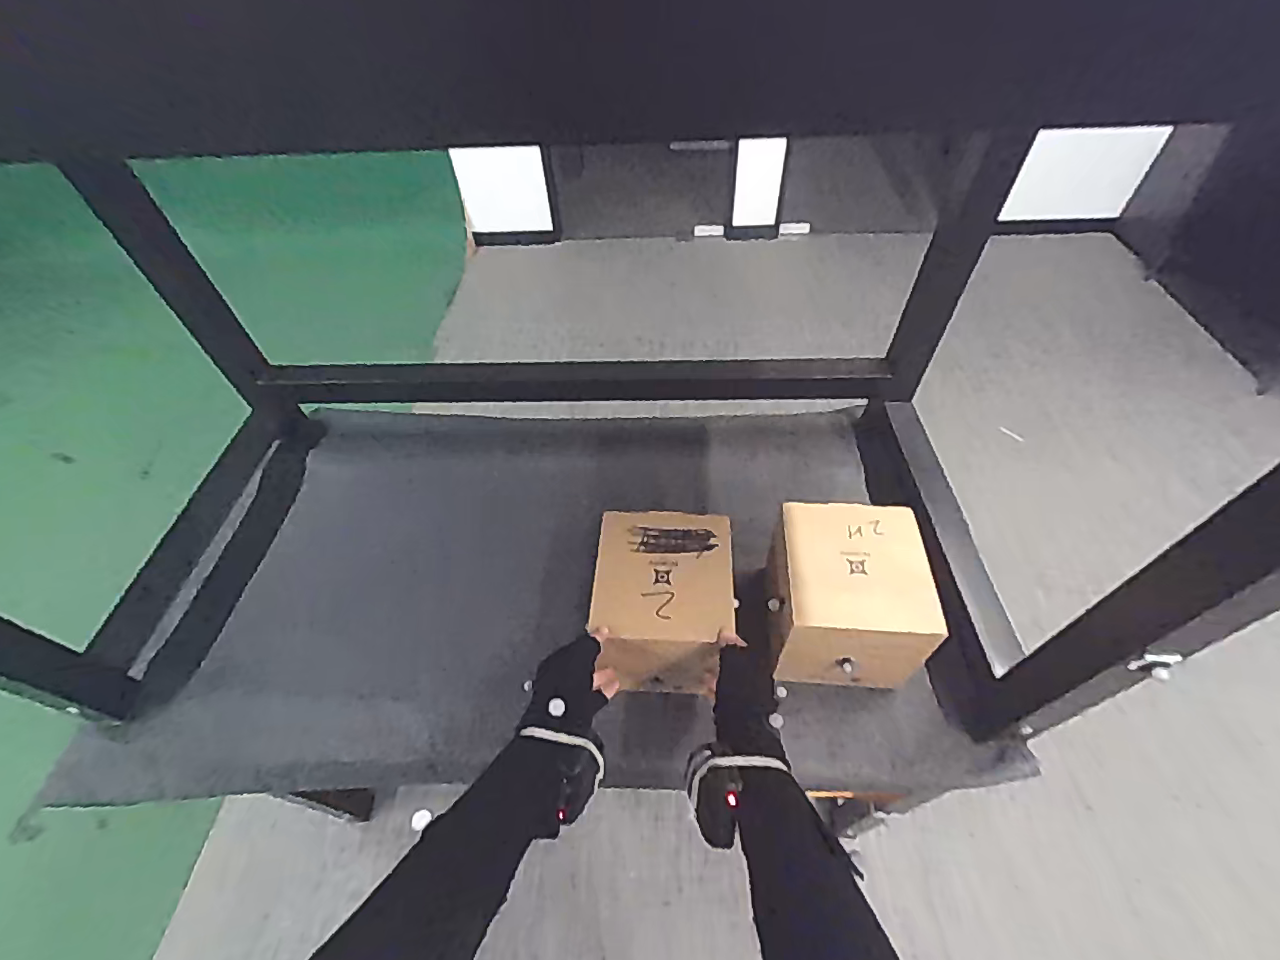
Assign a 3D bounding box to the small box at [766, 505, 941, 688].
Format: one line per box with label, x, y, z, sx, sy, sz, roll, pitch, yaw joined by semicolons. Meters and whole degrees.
small box;0.259;0.154;0.703;0.168;0.176;0.179;3;49;6
